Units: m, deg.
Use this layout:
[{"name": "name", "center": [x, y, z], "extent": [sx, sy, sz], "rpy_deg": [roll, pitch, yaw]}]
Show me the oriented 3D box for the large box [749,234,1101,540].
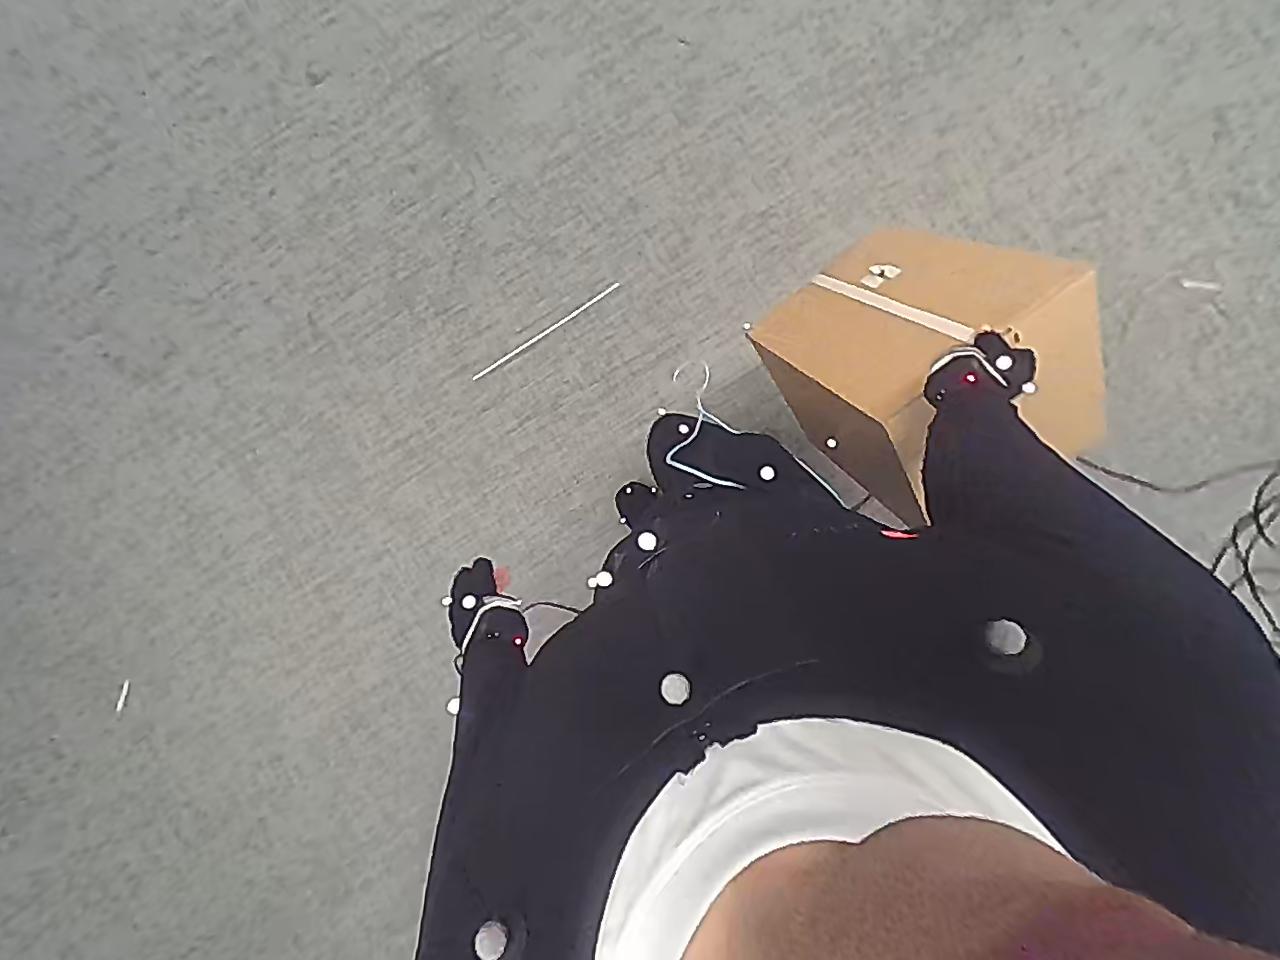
[{"name": "large box", "center": [0.465, -0.175, 0.935], "extent": [0.320, 0.408, 0.320], "rpy_deg": [-37, 124, 6]}]
